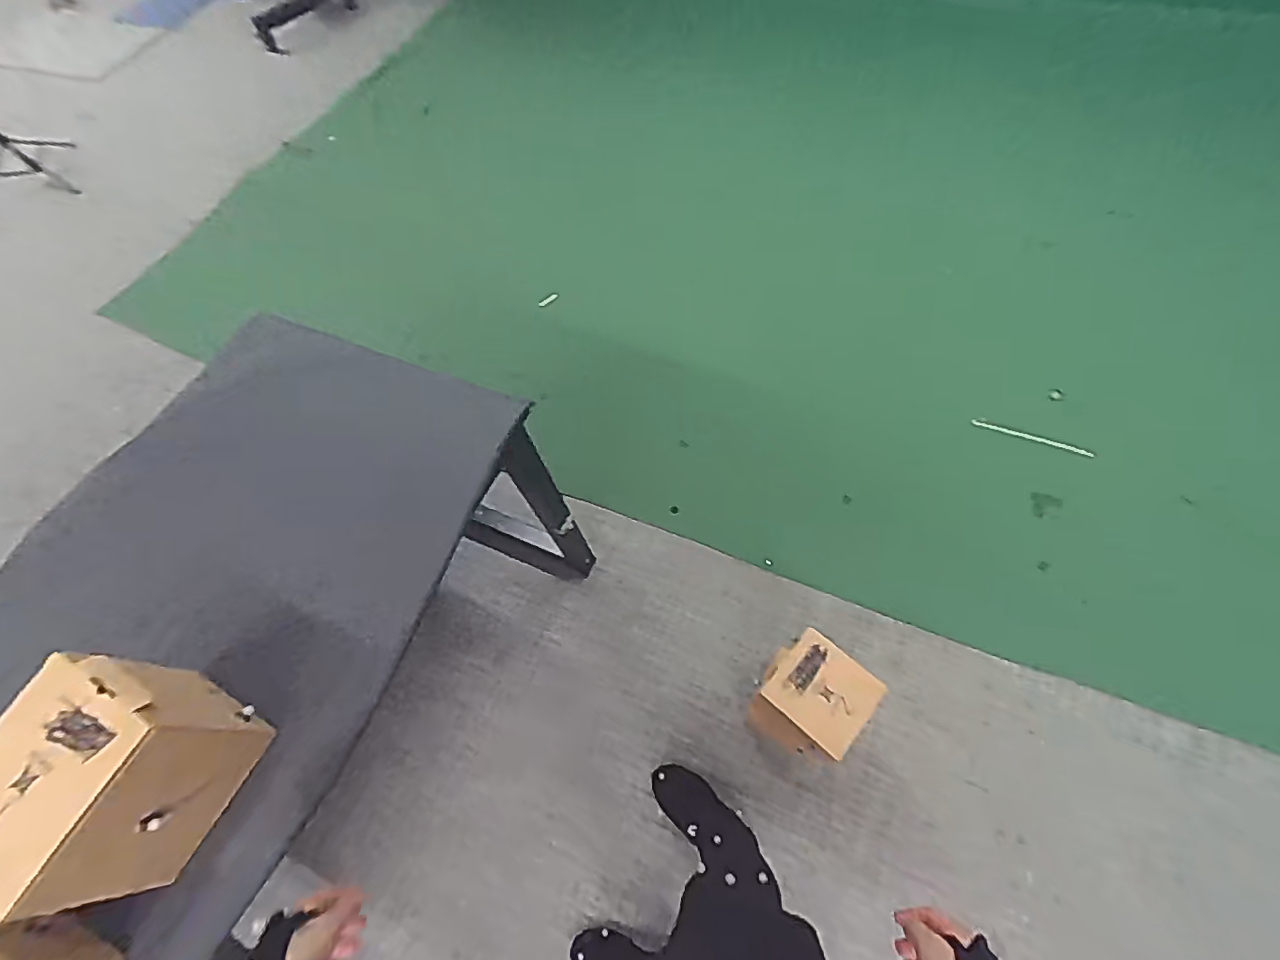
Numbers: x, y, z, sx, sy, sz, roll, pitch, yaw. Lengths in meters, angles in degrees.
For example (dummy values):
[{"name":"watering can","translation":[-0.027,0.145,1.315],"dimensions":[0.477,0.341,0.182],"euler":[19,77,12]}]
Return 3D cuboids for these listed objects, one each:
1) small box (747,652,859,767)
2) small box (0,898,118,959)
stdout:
[{"name":"small box","translation":[0.355,0.512,1.209],"dimensions":[0.179,0.176,0.168],"euler":[28,69,19]},{"name":"small box","translation":[-0.657,0.520,0.492],"dimensions":[0.179,0.176,0.168],"euler":[18,66,15]}]
